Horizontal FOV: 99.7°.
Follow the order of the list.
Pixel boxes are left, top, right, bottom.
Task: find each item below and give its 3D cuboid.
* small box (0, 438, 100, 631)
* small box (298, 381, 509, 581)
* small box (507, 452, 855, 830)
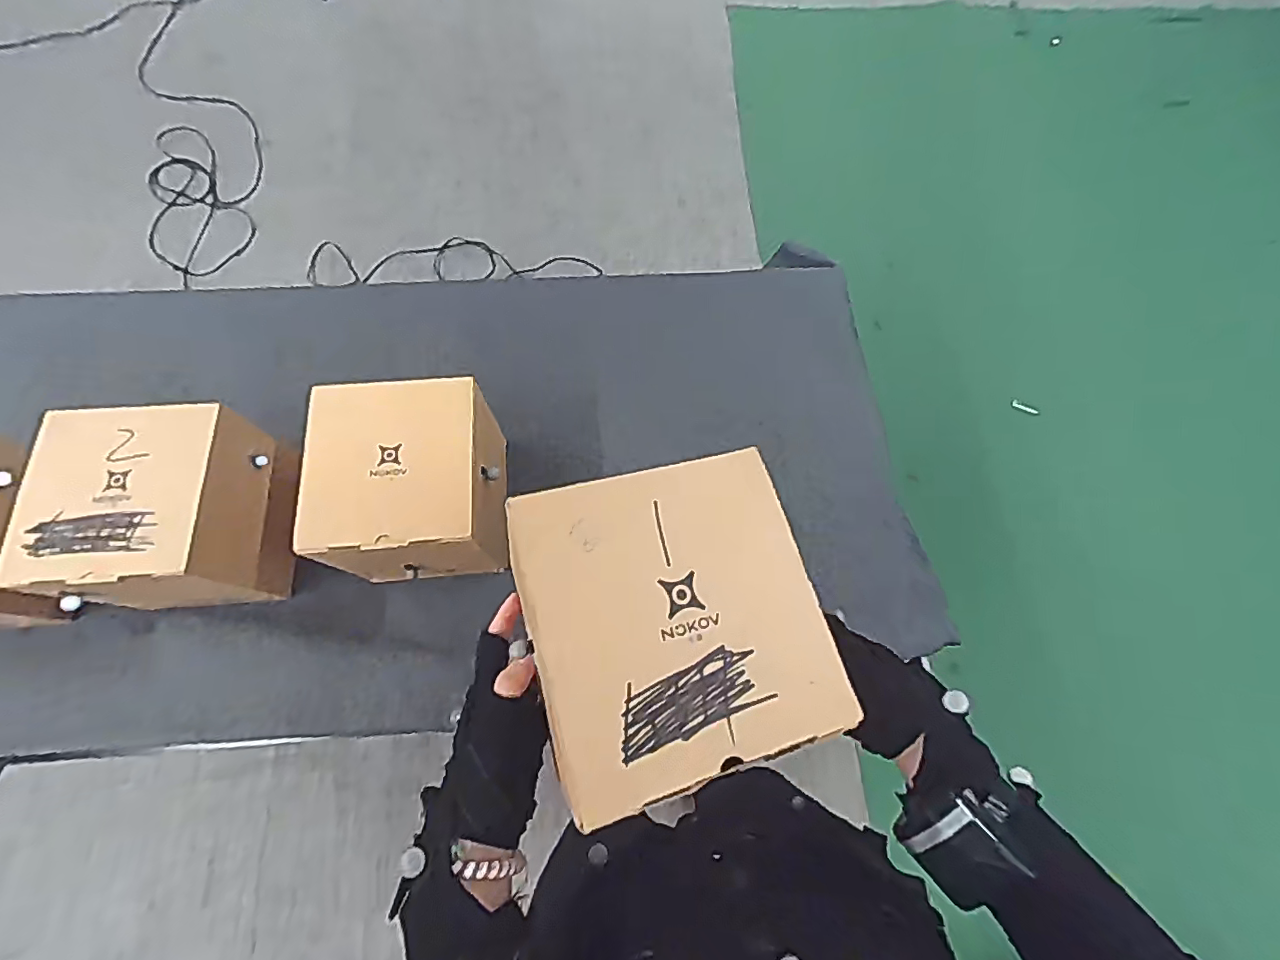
[{"bbox_3d":[-0.728,0.060,0.559,0.168,0.176,0.179,-5,70,-5],"label":"small box"},{"bbox_3d":[-0.245,0.008,0.606,0.168,0.176,0.179,-4,72,-4],"label":"small box"},{"bbox_3d":[0.008,0.103,0.379,0.168,0.176,0.179,-12,72,-16],"label":"small box"}]
